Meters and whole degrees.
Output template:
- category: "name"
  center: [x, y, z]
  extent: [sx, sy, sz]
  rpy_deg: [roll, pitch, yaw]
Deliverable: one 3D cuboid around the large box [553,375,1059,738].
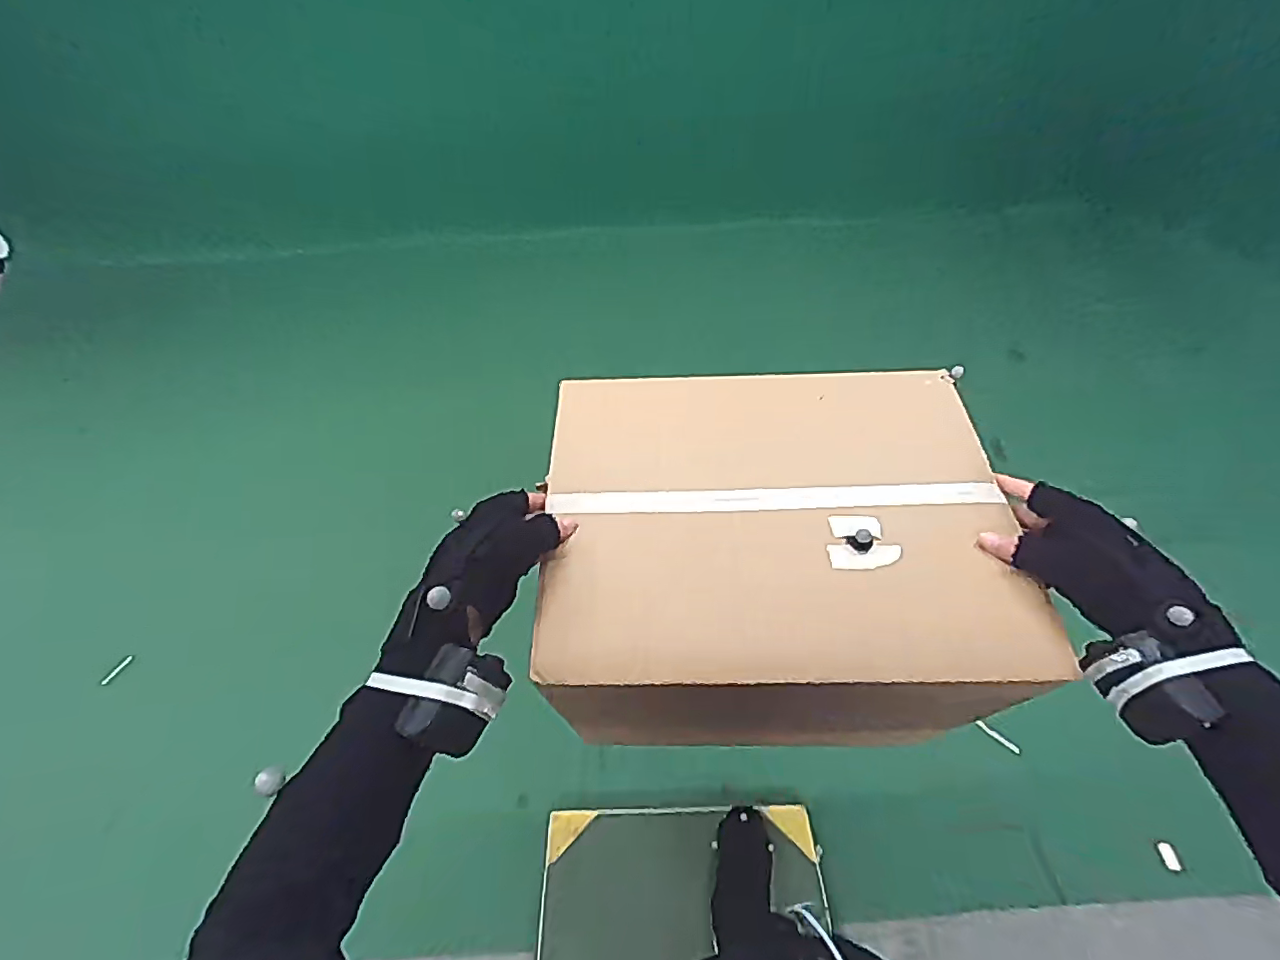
- category: "large box"
  center: [0.128, 0.102, 0.624]
  extent: [0.408, 0.320, 0.320]
  rpy_deg: [-1, 57, 1]
